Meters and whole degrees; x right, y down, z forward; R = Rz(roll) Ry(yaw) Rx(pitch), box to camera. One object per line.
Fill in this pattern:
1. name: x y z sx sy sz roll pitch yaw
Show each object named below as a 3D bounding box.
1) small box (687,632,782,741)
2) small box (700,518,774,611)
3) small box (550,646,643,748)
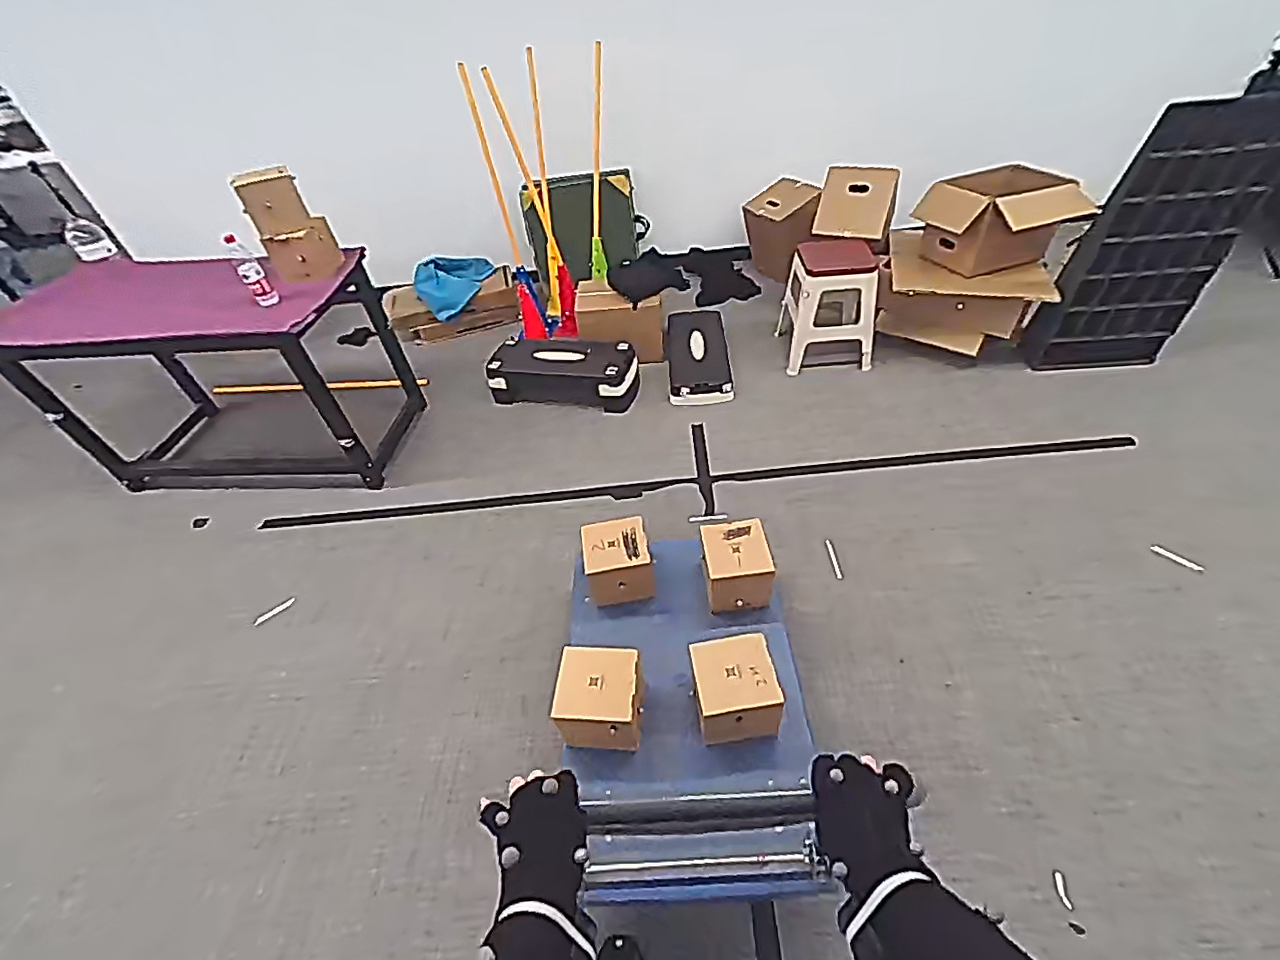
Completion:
1. small box: 0.211 0.471 1.227 0.179 0.176 0.168 -9 45 -1
2. small box: 0.254 0.229 1.461 0.168 0.176 0.179 -7 46 1
3. small box: -0.092 0.500 1.241 0.179 0.176 0.168 0 45 6
